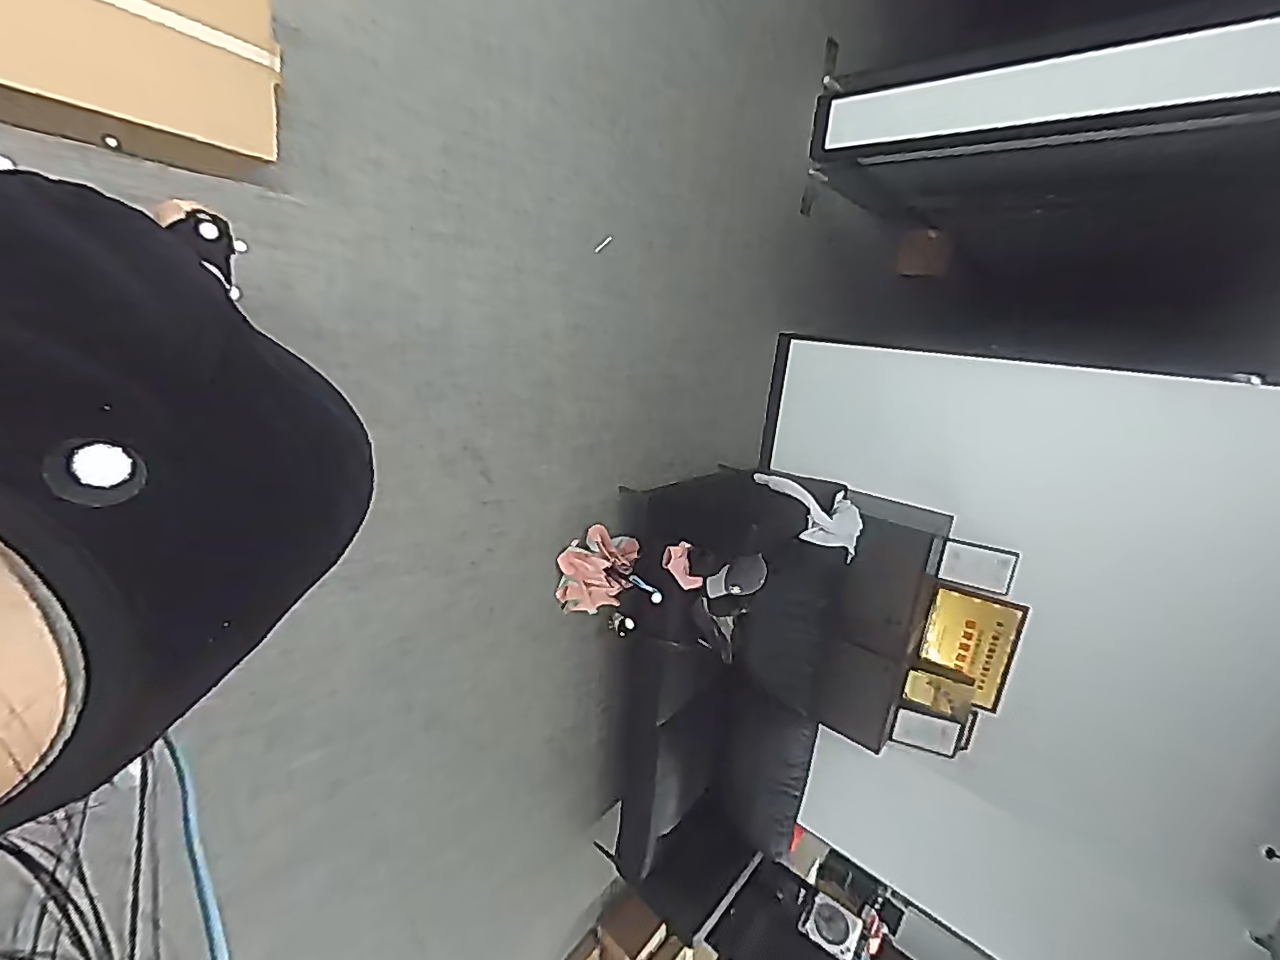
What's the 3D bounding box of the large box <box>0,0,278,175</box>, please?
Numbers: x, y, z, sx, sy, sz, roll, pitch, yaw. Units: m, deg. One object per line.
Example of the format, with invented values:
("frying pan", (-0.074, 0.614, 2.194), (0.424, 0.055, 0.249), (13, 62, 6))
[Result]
("large box", (-0.883, -0.736, 0.893), (0.408, 0.320, 0.320), (-10, 111, -48))
